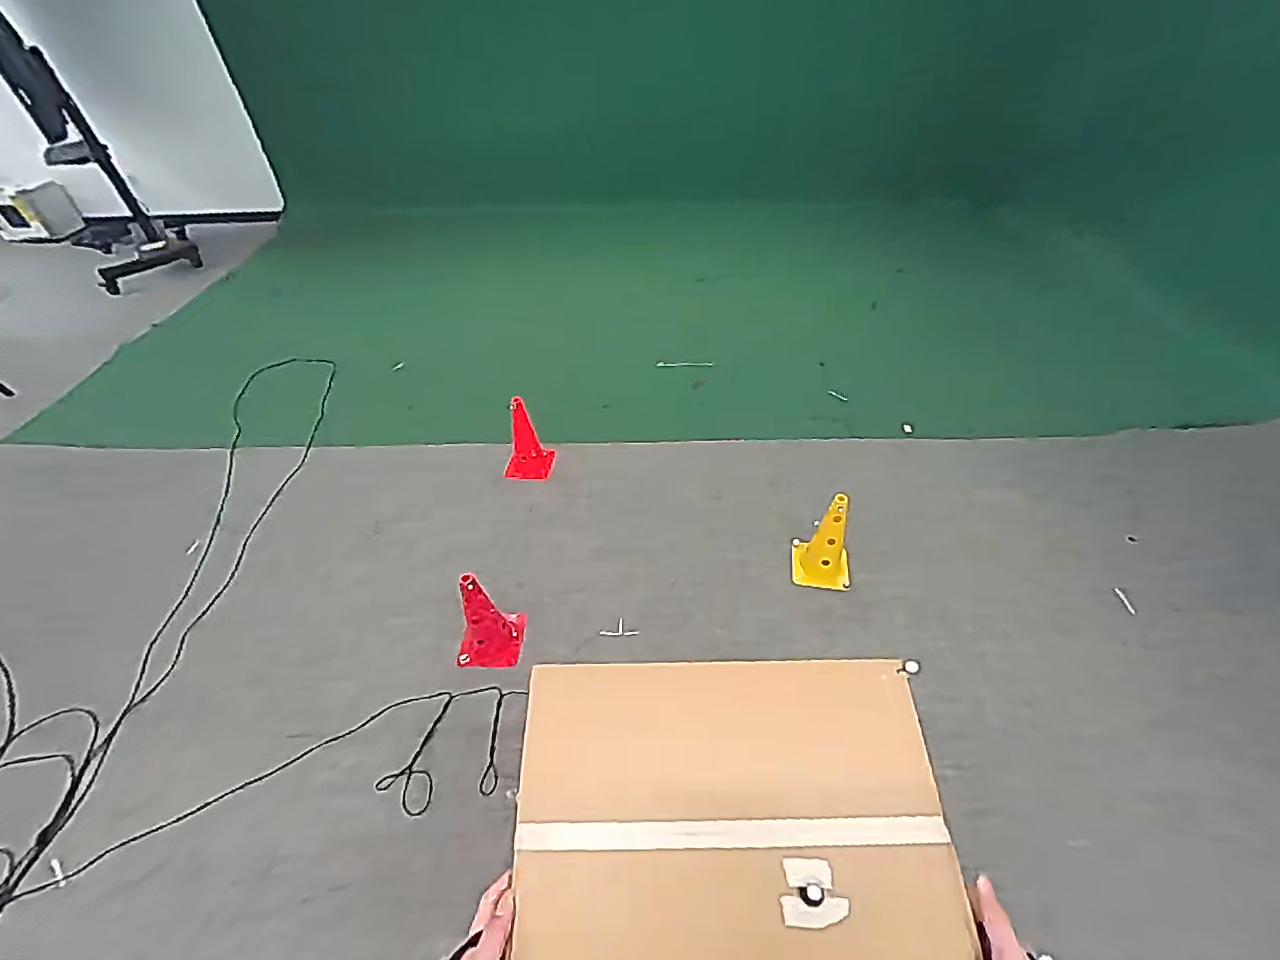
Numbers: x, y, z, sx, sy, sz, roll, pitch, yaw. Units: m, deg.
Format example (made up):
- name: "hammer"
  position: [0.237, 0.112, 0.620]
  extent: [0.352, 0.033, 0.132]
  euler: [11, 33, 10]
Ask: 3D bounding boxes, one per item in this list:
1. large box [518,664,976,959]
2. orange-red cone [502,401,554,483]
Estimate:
- name: "large box"
  position: [0.089, 0.420, 0.638]
  extent: [0.408, 0.320, 0.320]
  euler: [-2, 58, 0]
- name: "orange-red cone"
  position: [-0.510, -0.183, 2.316]
  extent: [0.199, 0.360, 0.198]
  euler: [3, 44, 8]
